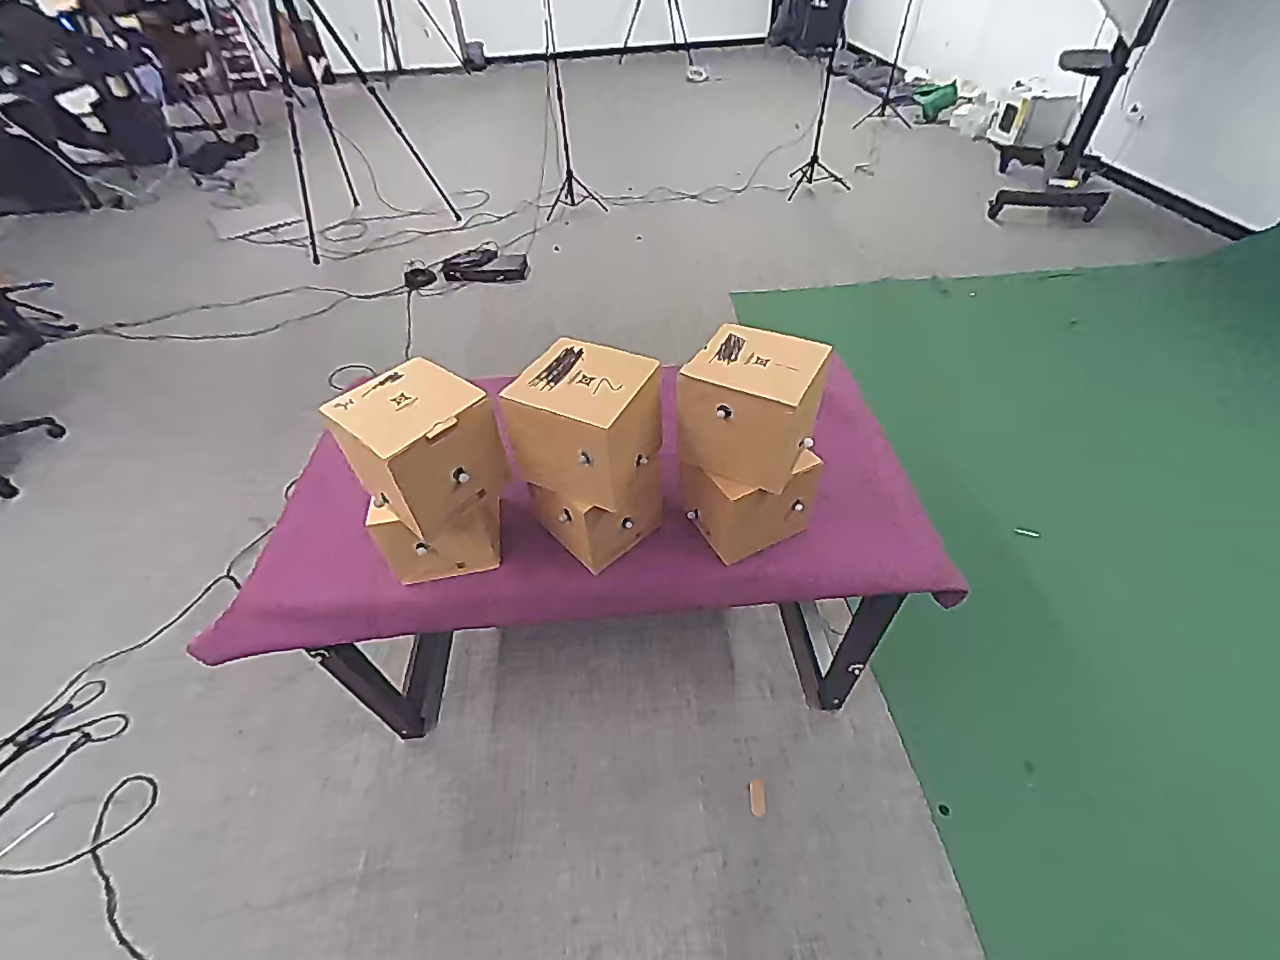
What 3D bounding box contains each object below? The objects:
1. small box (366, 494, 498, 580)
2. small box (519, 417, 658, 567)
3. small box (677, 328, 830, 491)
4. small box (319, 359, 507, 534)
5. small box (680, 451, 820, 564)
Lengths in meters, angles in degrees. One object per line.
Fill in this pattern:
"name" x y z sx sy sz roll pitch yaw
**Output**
"small box" -0.345 0.056 0.932 0.168 0.176 0.179 -10 45 -6
"small box" -0.082 0.026 0.943 0.168 0.176 0.179 -33 53 -27
"small box" 0.169 -0.109 0.836 0.179 0.176 0.168 21 49 23
"small box" -0.322 -0.045 0.800 0.179 0.176 0.168 30 53 28
"small box" 0.179 0.015 0.943 0.179 0.176 0.168 -21 47 -16
